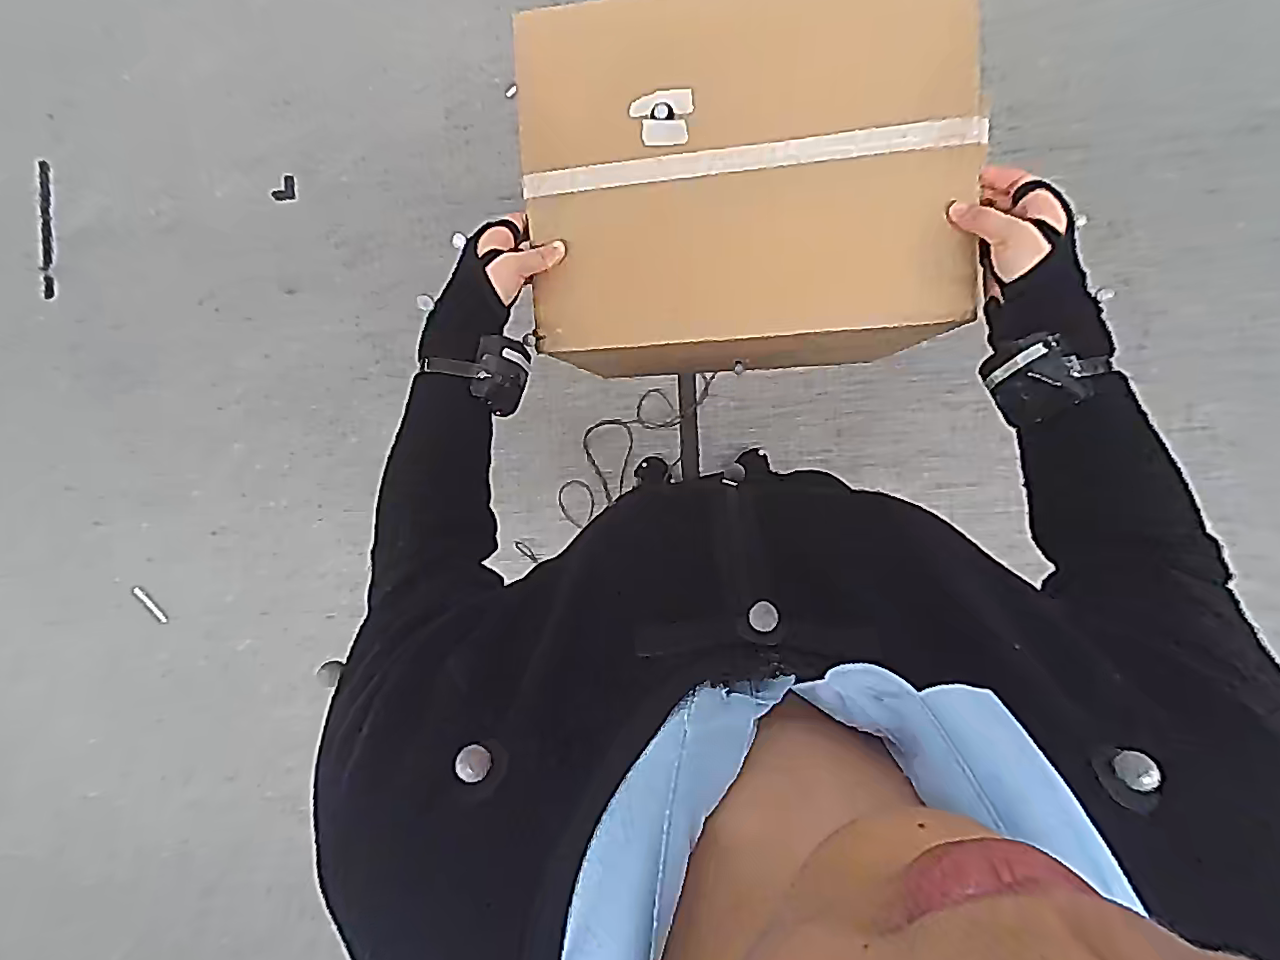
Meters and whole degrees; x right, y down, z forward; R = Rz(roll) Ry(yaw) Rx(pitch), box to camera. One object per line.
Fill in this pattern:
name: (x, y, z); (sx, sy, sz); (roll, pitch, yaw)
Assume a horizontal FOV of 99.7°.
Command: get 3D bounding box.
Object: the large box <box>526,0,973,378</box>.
large box: (0.118, -0.303, 0.649); (0.408, 0.320, 0.320); (-2, 94, 9)
